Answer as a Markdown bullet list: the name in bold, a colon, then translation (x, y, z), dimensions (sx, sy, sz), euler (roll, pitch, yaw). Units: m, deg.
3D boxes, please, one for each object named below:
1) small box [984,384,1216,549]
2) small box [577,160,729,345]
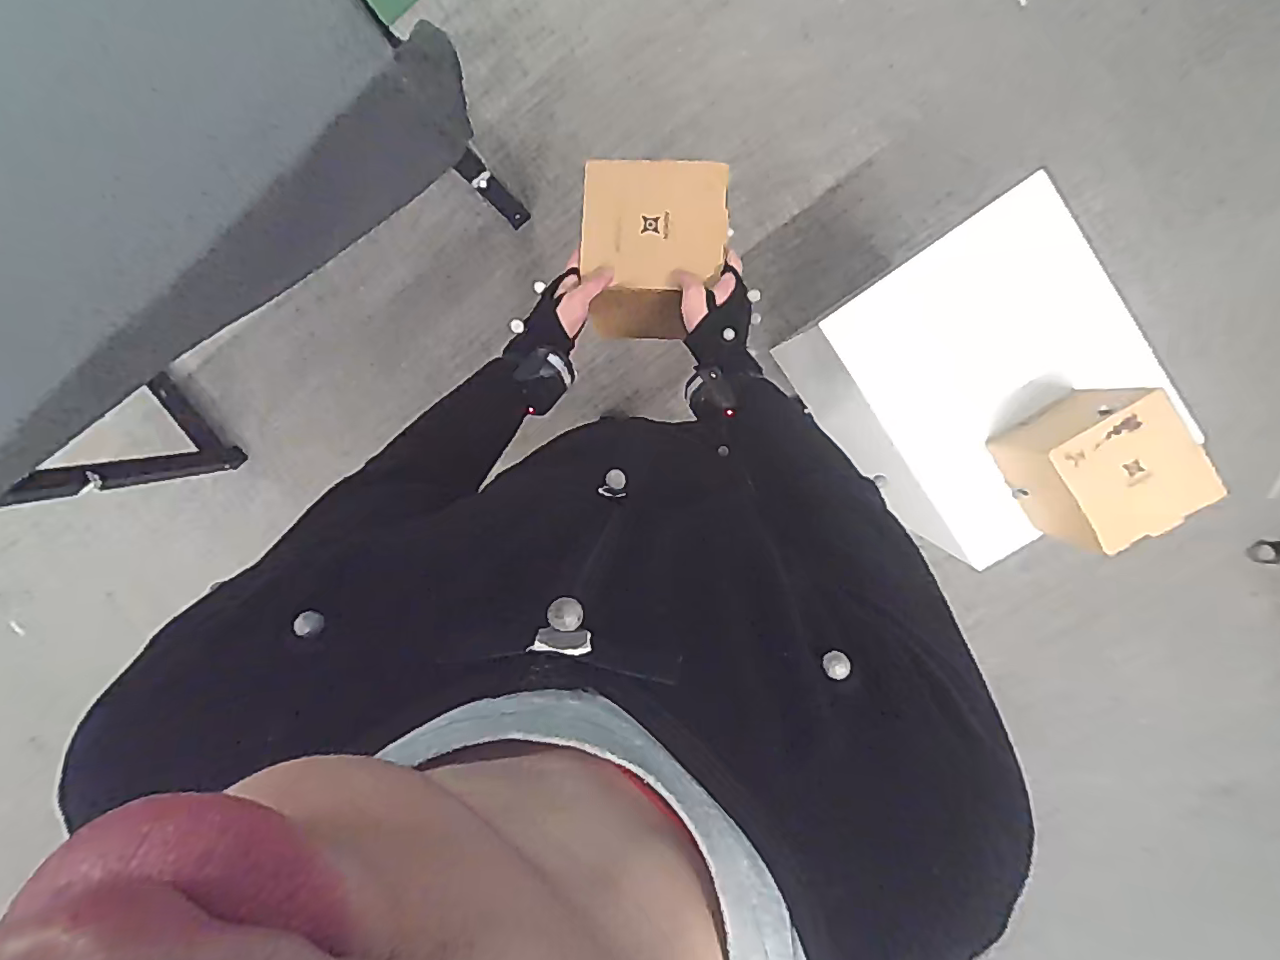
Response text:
- **small box**: translation (0.674, -0.029, 0.815), dimensions (0.168, 0.176, 0.179), euler (-34, 95, 6)
- **small box**: translation (0.017, -0.285, 0.707), dimensions (0.179, 0.176, 0.168), euler (0, 83, 2)
